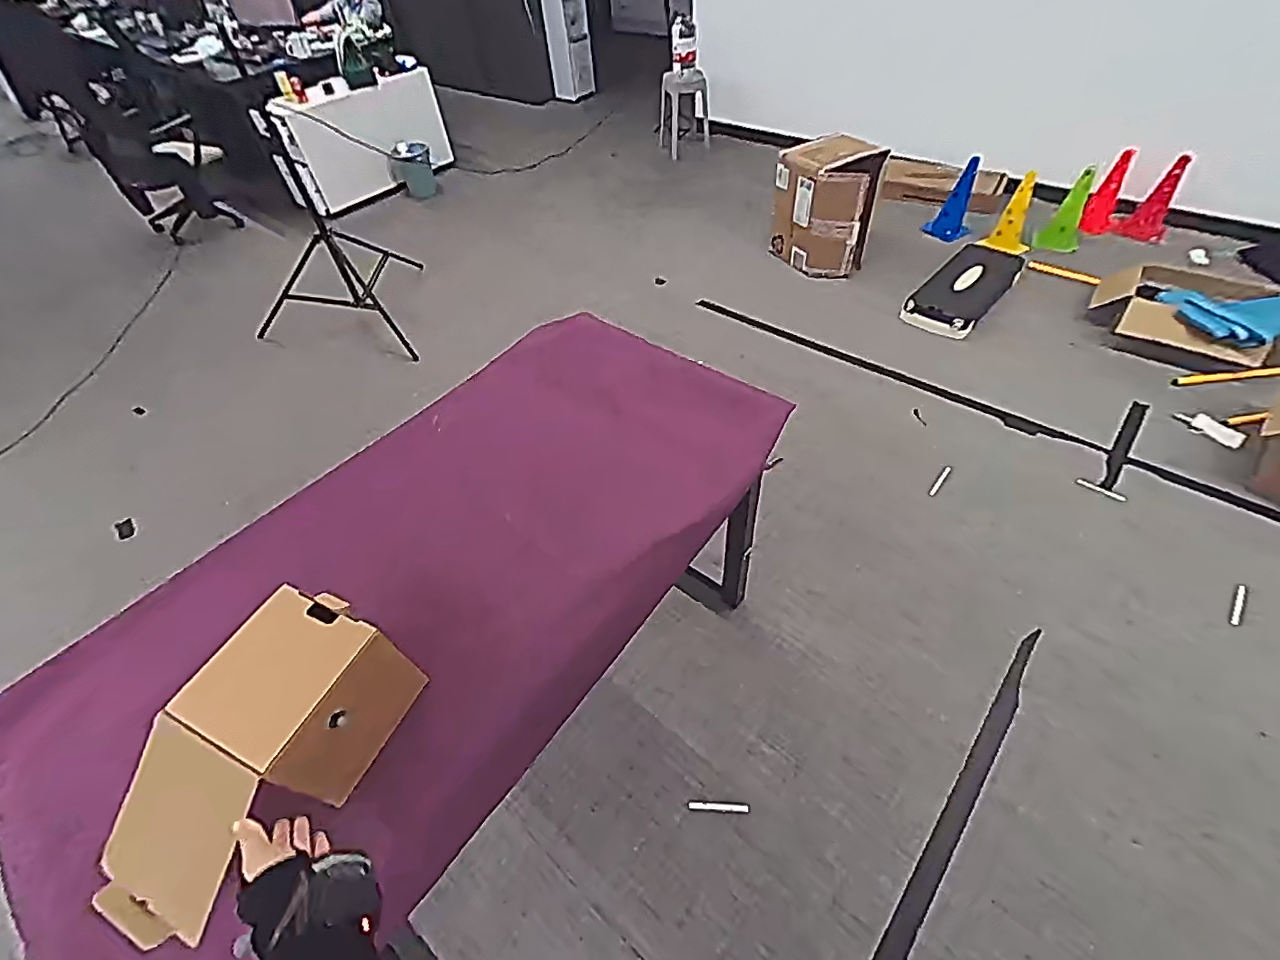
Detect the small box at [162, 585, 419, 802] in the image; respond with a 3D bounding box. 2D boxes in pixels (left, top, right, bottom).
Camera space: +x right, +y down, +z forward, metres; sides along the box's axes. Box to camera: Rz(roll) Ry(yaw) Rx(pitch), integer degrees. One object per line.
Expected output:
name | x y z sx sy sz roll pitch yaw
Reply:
small box | -0.415 0.269 0.677 0.168 0.176 0.179 17 53 19
